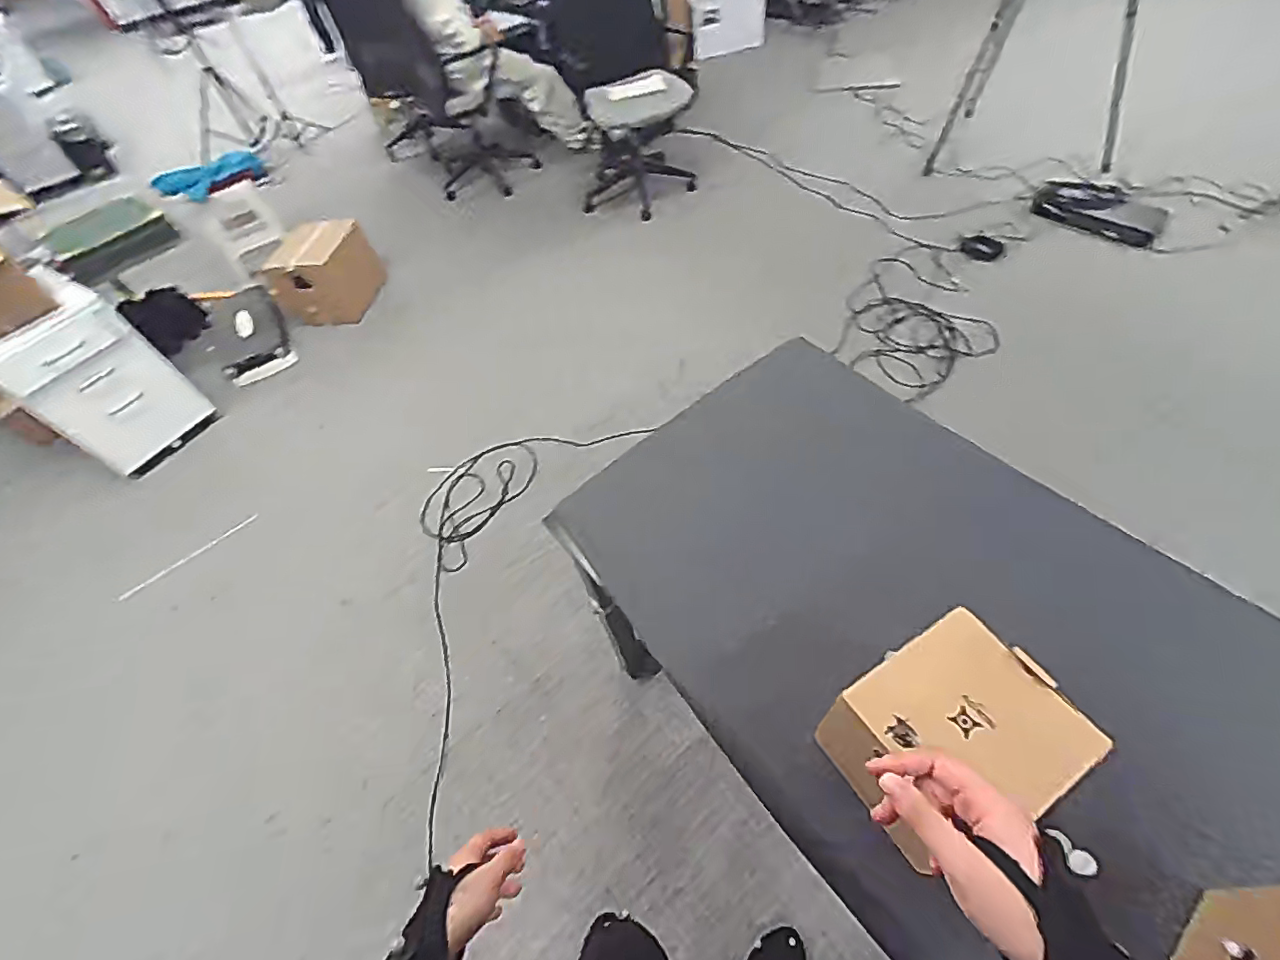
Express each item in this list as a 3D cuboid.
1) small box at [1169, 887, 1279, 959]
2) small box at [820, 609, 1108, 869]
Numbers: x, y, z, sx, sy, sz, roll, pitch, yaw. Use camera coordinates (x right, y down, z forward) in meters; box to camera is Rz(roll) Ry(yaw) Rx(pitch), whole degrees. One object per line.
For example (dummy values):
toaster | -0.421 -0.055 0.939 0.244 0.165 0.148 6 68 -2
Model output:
small box | 0.541 0.450 0.405 0.179 0.176 0.168 -34 55 -21
small box | 0.319 0.275 0.575 0.179 0.176 0.168 -27 53 -15
